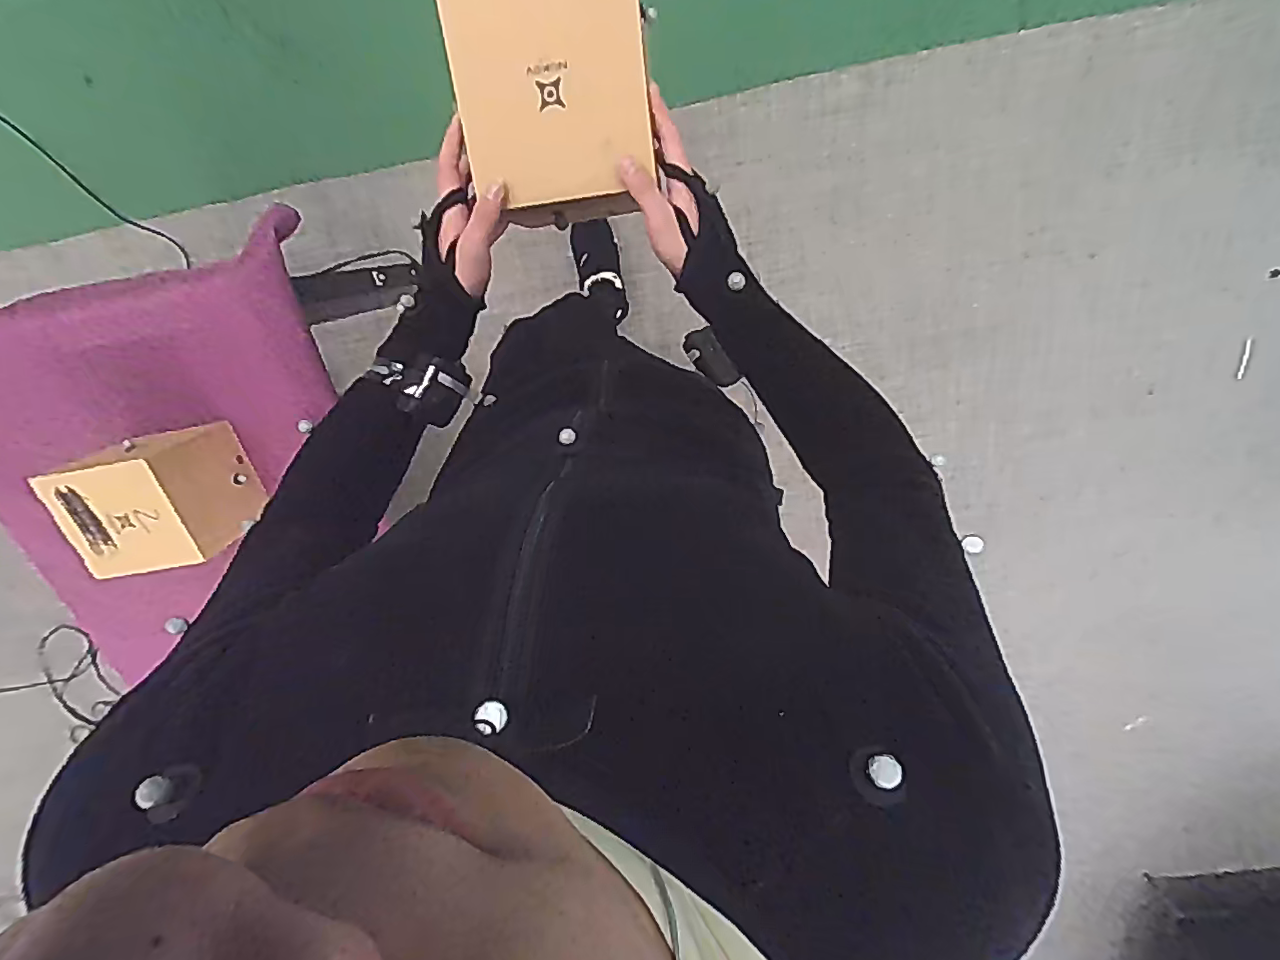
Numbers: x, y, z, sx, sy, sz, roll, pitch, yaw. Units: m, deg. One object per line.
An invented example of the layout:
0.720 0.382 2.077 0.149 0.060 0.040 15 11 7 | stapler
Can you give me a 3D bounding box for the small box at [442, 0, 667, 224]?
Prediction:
-0.065 -0.357 0.525 0.168 0.176 0.179 -6 108 6 | small box
